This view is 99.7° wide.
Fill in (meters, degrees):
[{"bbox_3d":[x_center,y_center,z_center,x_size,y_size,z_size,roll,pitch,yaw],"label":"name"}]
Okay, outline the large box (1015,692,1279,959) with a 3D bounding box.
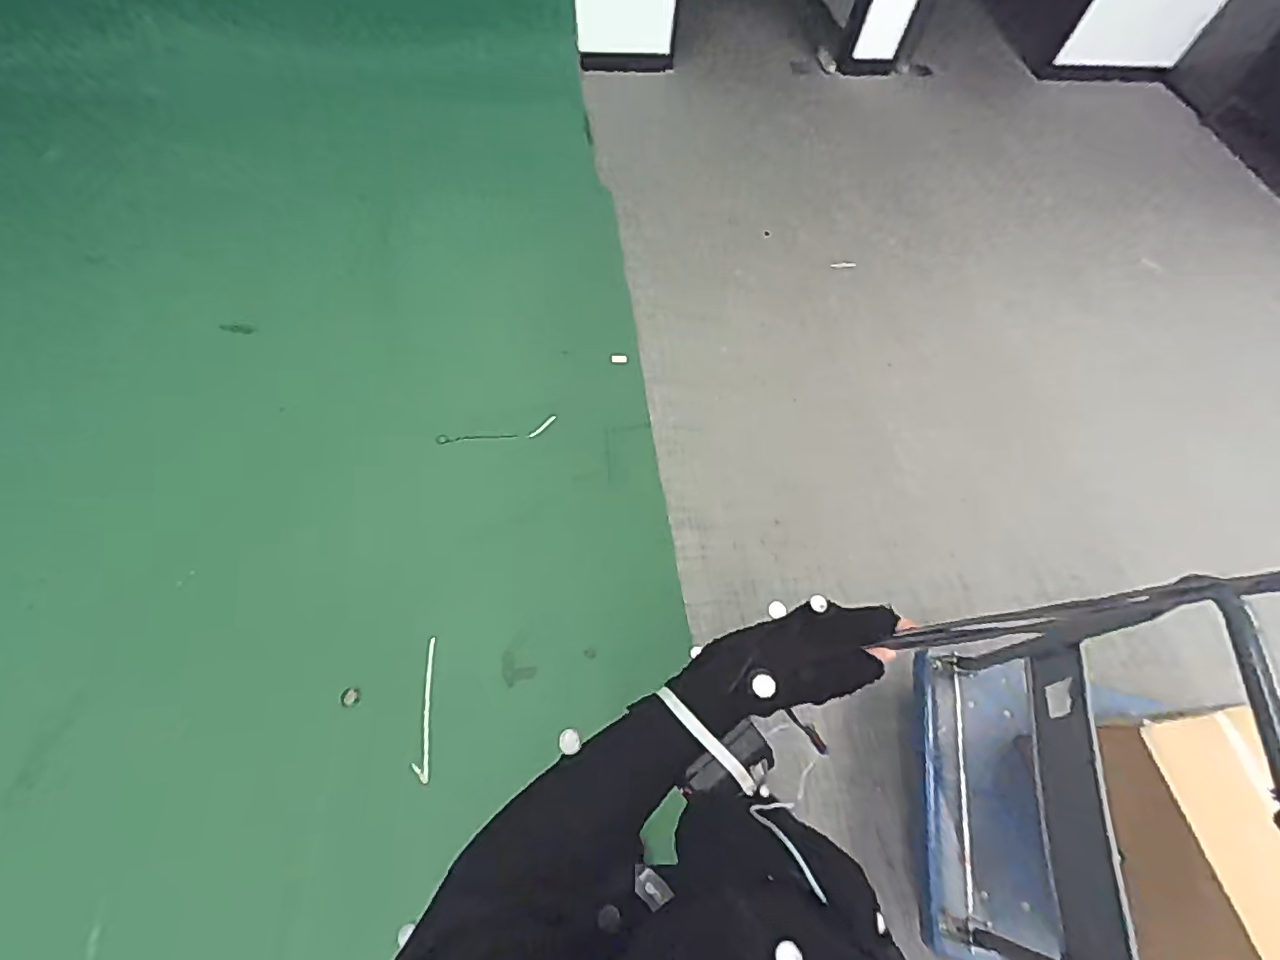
[{"bbox_3d":[1.016,0.645,0.998,0.320,0.320,0.408,-6,62,-8],"label":"large box"}]
